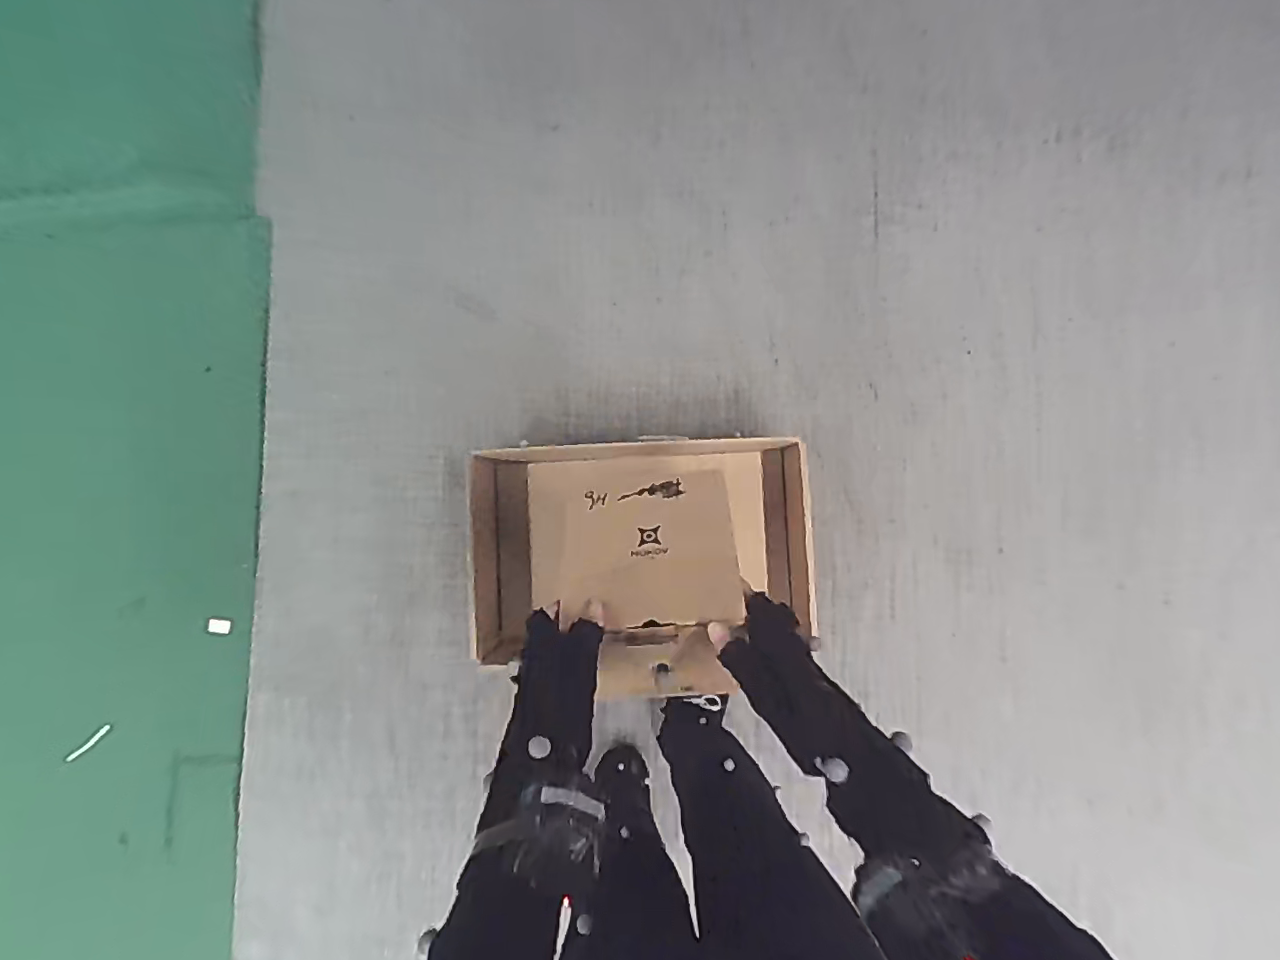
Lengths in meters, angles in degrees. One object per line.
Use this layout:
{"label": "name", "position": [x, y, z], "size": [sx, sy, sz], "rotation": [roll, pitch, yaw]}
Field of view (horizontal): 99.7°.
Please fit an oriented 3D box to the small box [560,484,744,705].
{"label": "small box", "position": [0.018, 0.132, 0.591], "size": [0.168, 0.176, 0.179], "rotation": [-8, 48, 5]}
